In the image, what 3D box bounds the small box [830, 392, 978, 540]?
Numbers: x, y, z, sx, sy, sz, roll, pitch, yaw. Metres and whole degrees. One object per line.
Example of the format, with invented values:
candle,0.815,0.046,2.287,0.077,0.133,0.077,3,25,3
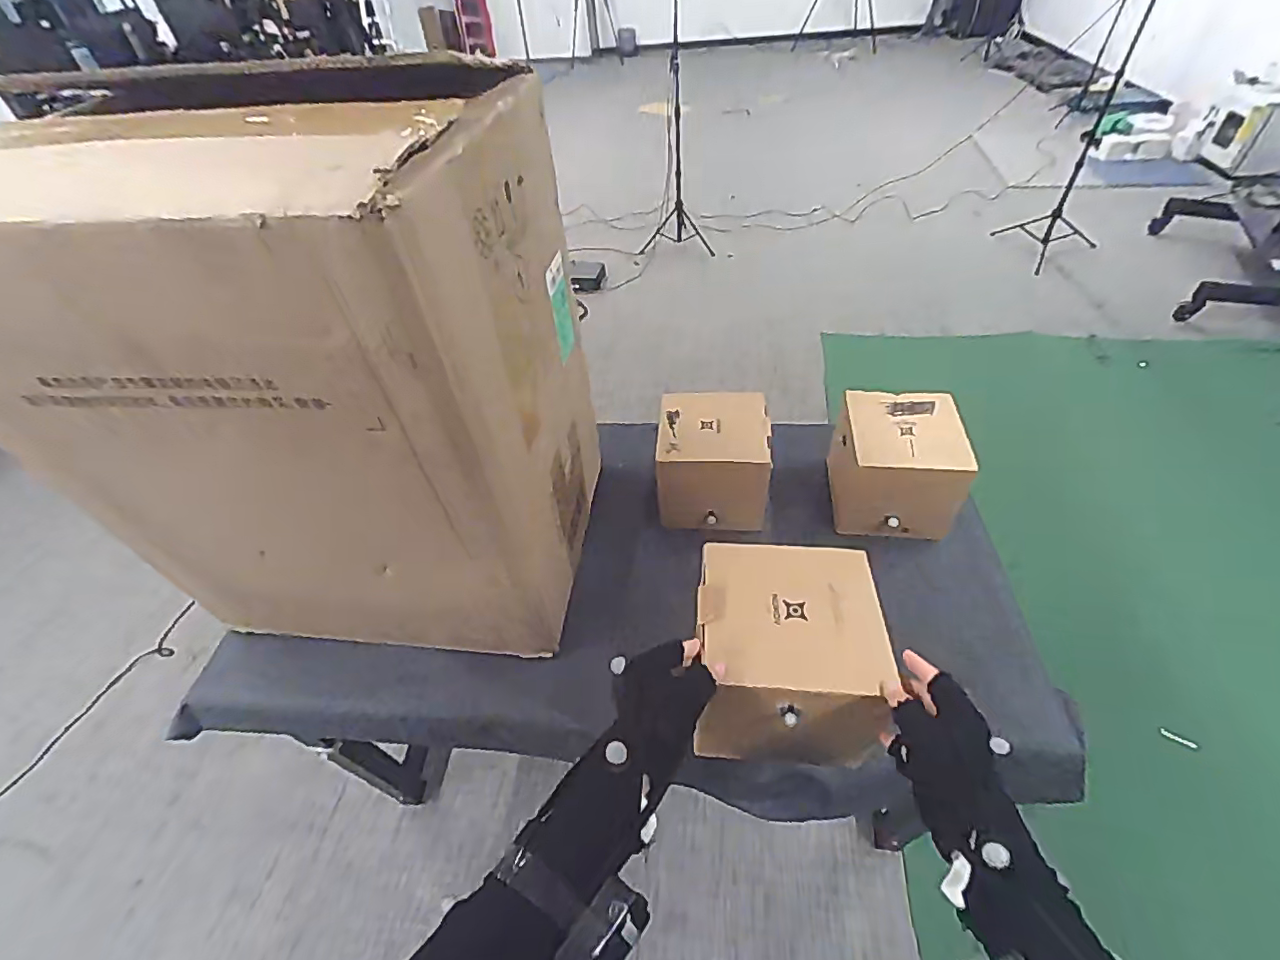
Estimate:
small box,0.419,-0.024,0.896,0.168,0.176,0.179,3,48,9
